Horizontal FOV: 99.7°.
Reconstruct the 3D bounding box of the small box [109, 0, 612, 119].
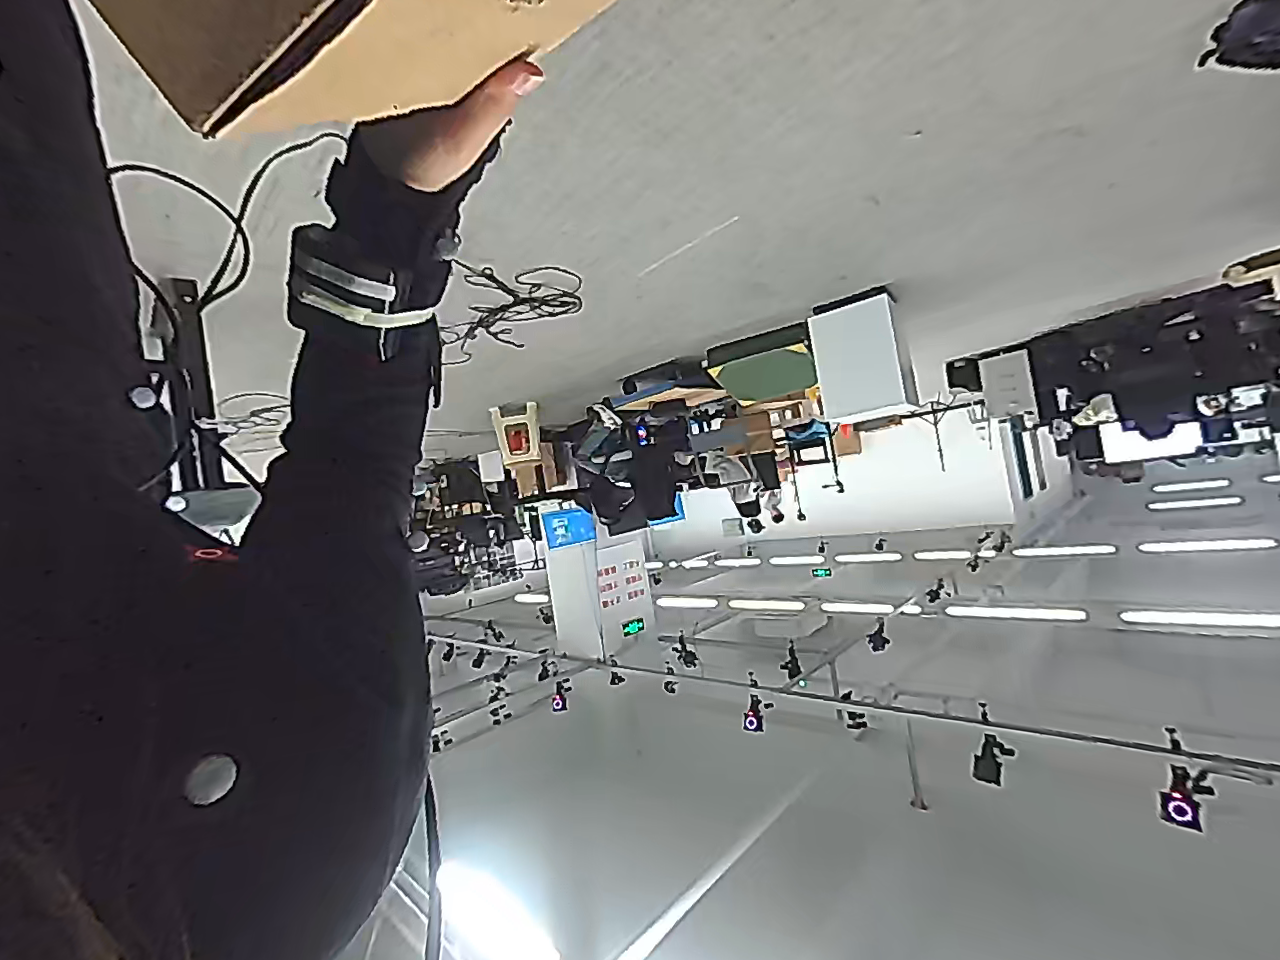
[{"bbox_3d":[-0.066,-0.231,0.138,0.179,0.176,0.168,-13,-147,27],"label":"small box"}]
